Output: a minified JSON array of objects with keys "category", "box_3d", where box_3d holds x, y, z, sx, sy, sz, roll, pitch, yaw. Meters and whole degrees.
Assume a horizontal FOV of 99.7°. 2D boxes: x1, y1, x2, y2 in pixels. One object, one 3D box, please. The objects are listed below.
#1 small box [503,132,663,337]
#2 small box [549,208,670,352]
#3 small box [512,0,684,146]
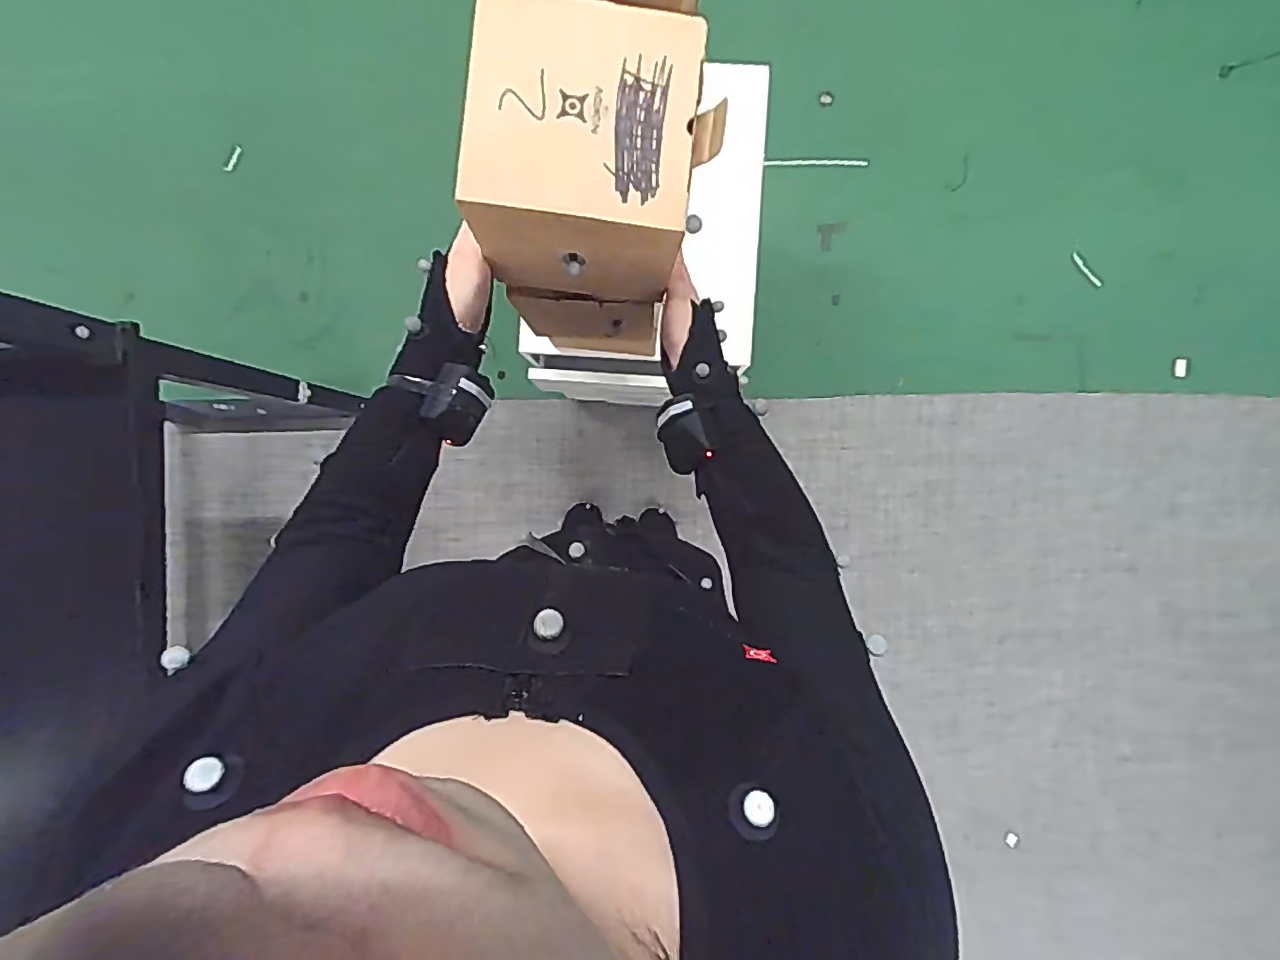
[{"category":"small box","box_3d":[-0.061,-0.282,0.658,0.168,0.176,0.179,3,90,-1]},{"category":"small box","box_3d":[-0.053,-0.300,0.820,0.179,0.176,0.168,6,90,0]},{"category":"small box","box_3d":[-0.042,-0.532,0.656,0.179,0.176,0.168,7,91,-1]}]
